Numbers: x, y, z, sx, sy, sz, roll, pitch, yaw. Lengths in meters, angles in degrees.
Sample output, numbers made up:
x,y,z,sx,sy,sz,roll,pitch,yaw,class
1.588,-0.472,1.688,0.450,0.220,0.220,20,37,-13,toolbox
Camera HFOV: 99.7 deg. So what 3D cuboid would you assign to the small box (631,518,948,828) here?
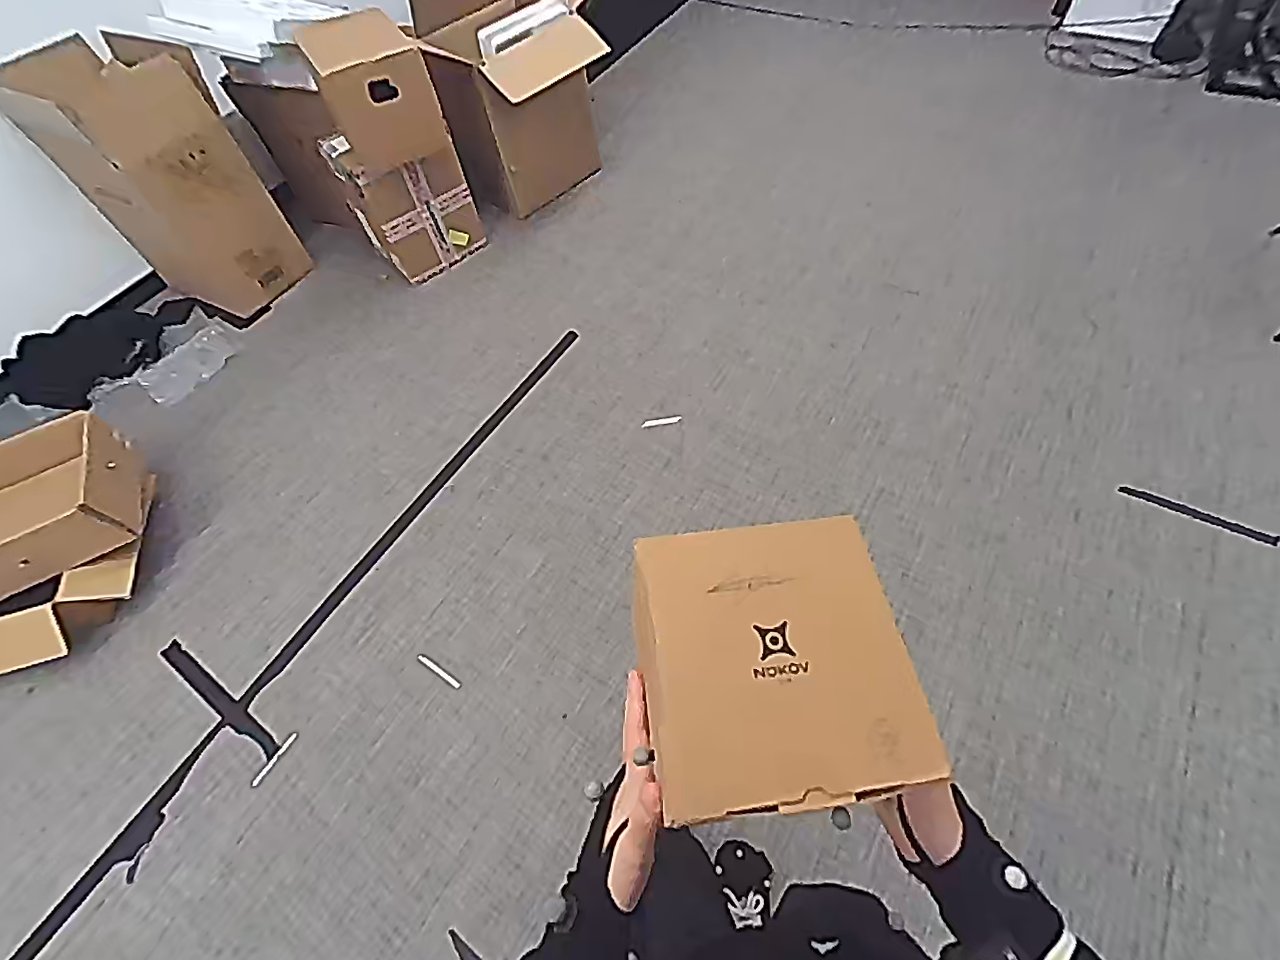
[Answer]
x,y,z,sx,sy,sz,roll,pitch,yaw,class
0.084,0.151,0.411,0.168,0.176,0.179,-6,56,-6,small box
